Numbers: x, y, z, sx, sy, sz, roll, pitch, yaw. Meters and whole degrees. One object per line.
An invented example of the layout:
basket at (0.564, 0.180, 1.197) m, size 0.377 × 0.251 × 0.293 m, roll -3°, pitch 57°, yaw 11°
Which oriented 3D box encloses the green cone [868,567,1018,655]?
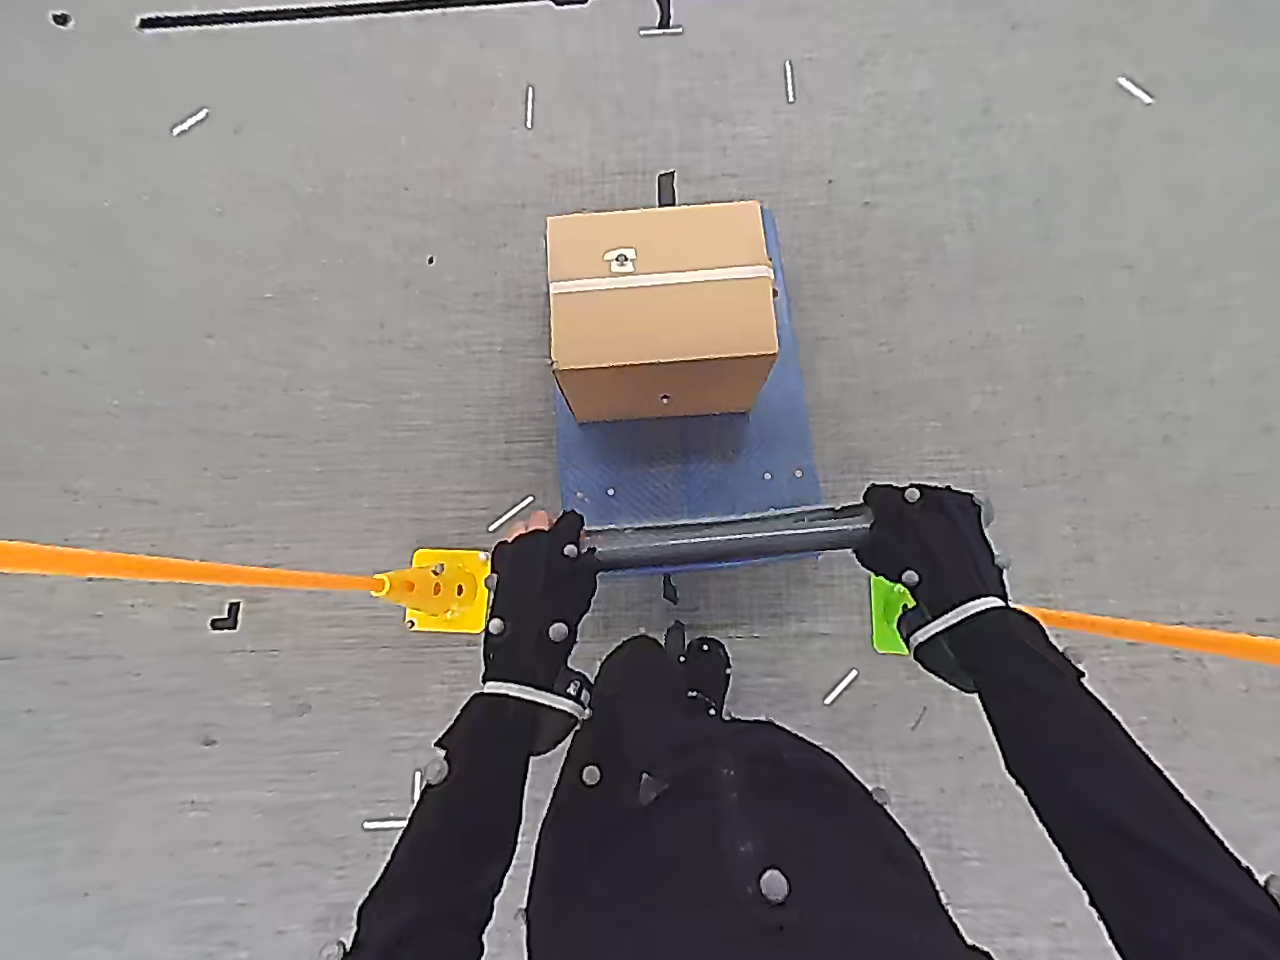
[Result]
green cone at (0.650, 0.276, 1.132) m, size 0.202 × 0.368 × 0.200 m, roll 2°, pitch 77°, yaw 2°

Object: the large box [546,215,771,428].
large box at (0.036, -0.310, 1.148) m, size 0.408 × 0.320 × 0.320 m, roll -4°, pitch 78°, yaw 2°
